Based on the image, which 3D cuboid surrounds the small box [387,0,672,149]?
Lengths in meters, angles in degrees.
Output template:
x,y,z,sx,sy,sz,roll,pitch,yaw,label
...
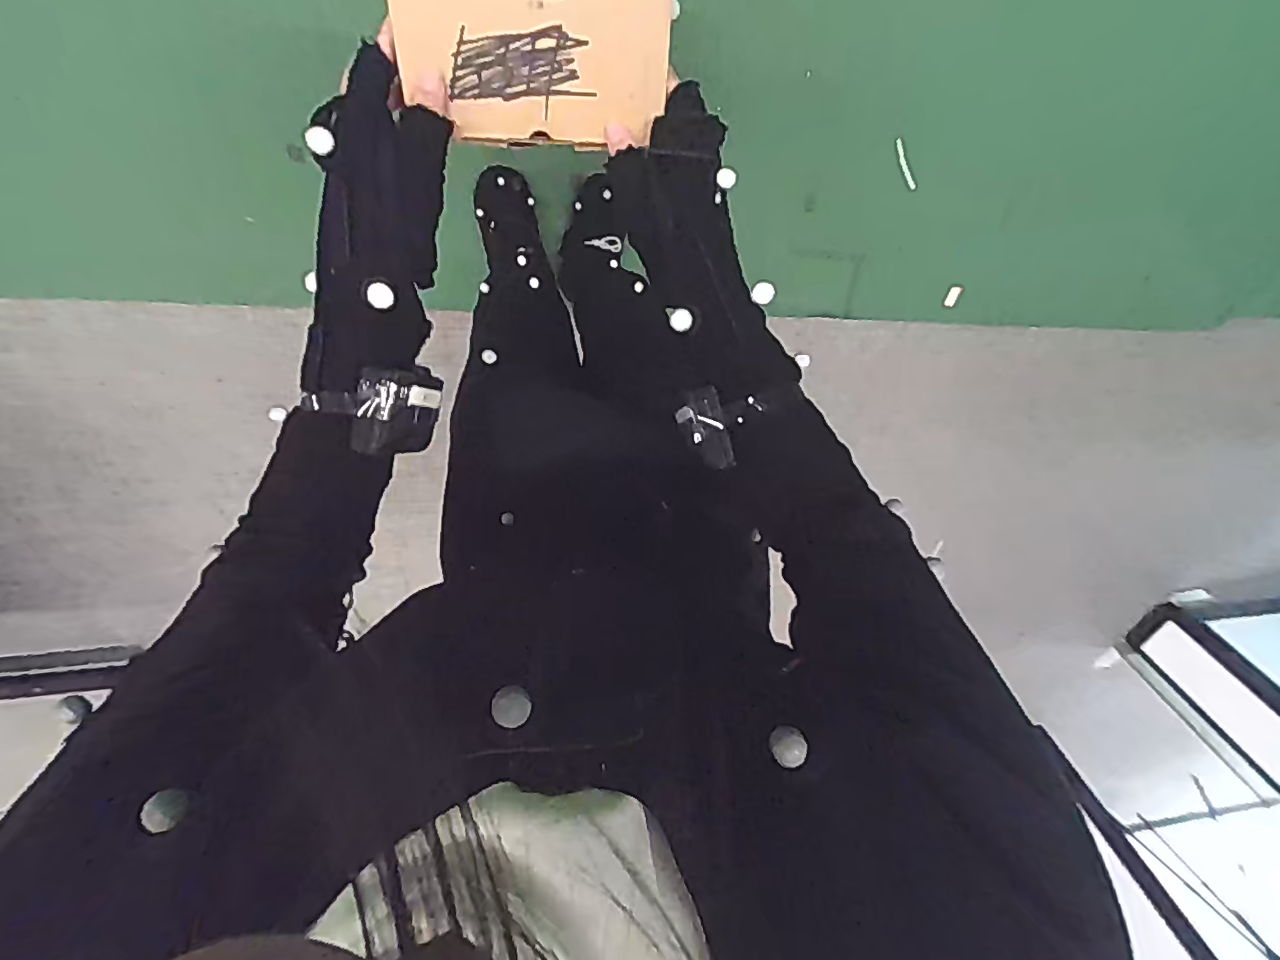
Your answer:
x,y,z,sx,sy,sz,roll,pitch,yaw,label
-0.069,-0.337,0.361,0.168,0.176,0.179,-3,128,-7,small box
